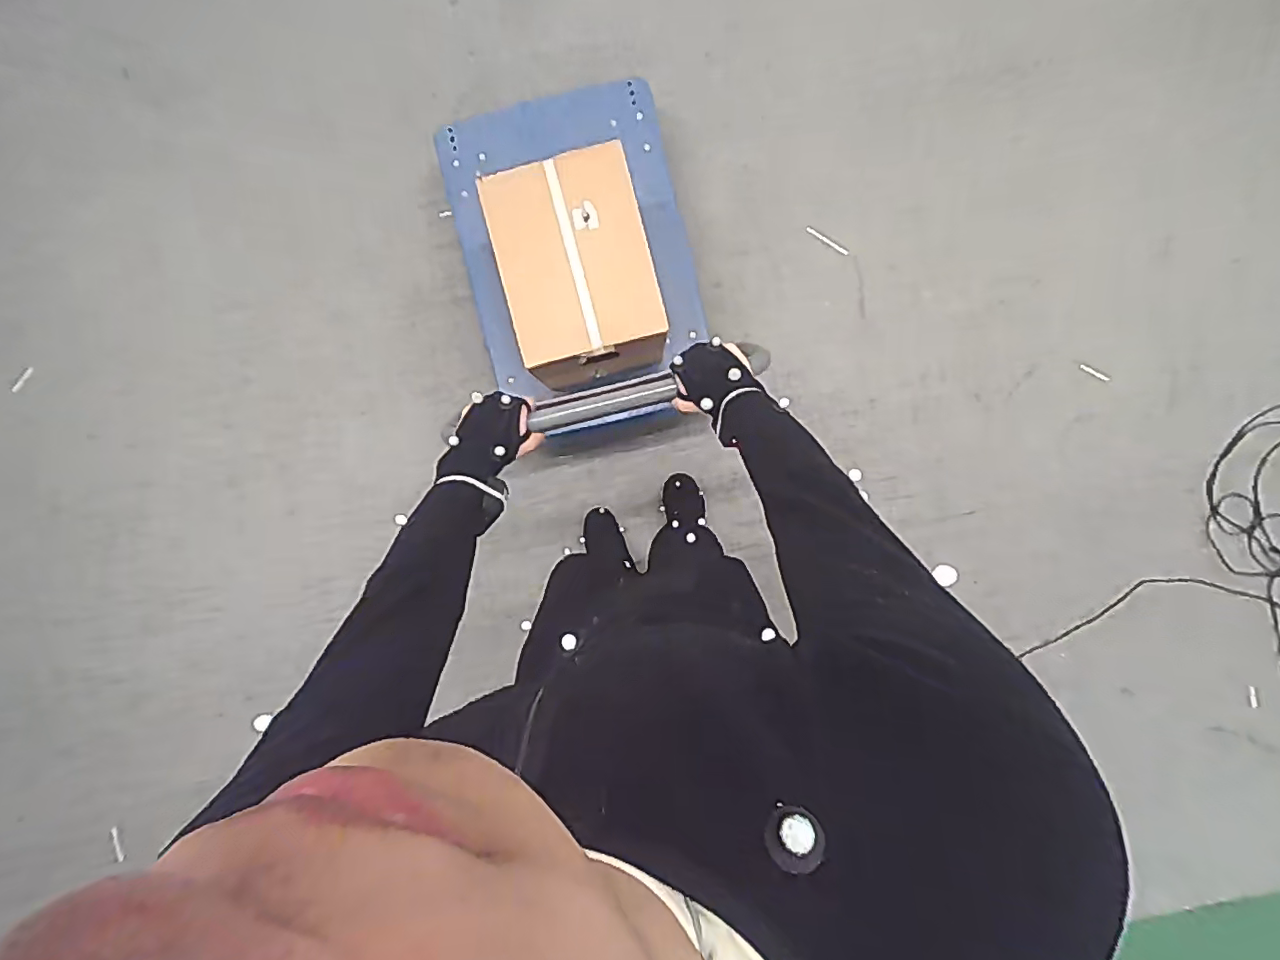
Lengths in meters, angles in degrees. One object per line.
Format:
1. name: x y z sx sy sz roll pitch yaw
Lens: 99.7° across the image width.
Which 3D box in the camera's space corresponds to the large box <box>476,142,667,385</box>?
1. large box: -0.138 -0.473 1.272 0.320 0.320 0.408 -15 92 1
